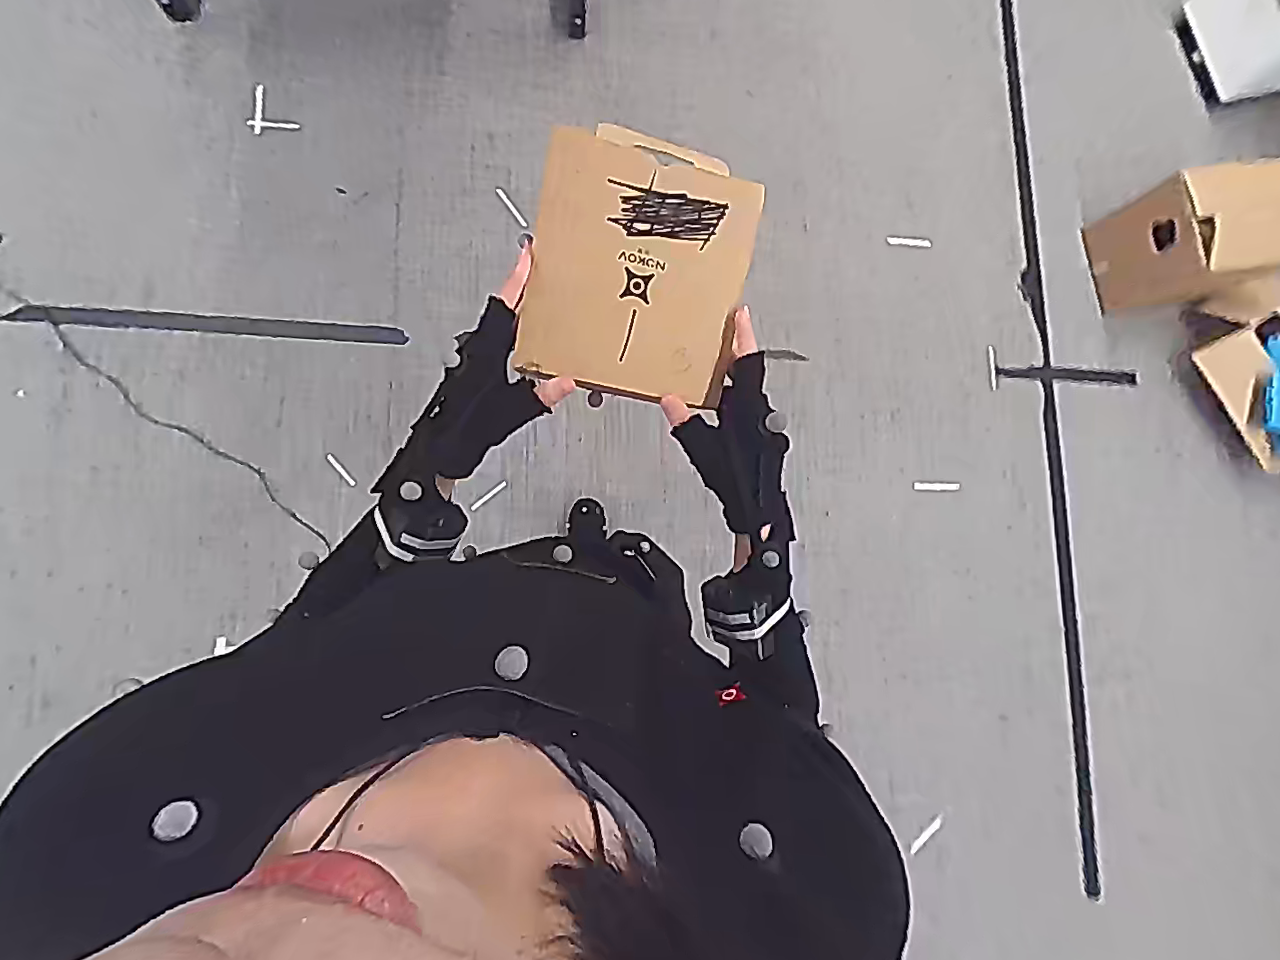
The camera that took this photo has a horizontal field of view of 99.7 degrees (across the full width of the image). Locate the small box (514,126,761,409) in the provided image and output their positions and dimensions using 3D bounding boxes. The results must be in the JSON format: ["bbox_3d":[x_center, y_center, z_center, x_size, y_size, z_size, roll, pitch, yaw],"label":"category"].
[{"bbox_3d":[-0.014,-0.166,0.486,0.168,0.176,0.179,10,97,-11],"label":"small box"}]

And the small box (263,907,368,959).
[{"bbox_3d":[-0.756,1.141,1.265,0.179,0.176,0.168,-1,82,-7],"label":"small box"}]

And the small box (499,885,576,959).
[{"bbox_3d":[-0.248,1.141,1.332,0.179,0.176,0.168,0,84,-7],"label":"small box"}]
